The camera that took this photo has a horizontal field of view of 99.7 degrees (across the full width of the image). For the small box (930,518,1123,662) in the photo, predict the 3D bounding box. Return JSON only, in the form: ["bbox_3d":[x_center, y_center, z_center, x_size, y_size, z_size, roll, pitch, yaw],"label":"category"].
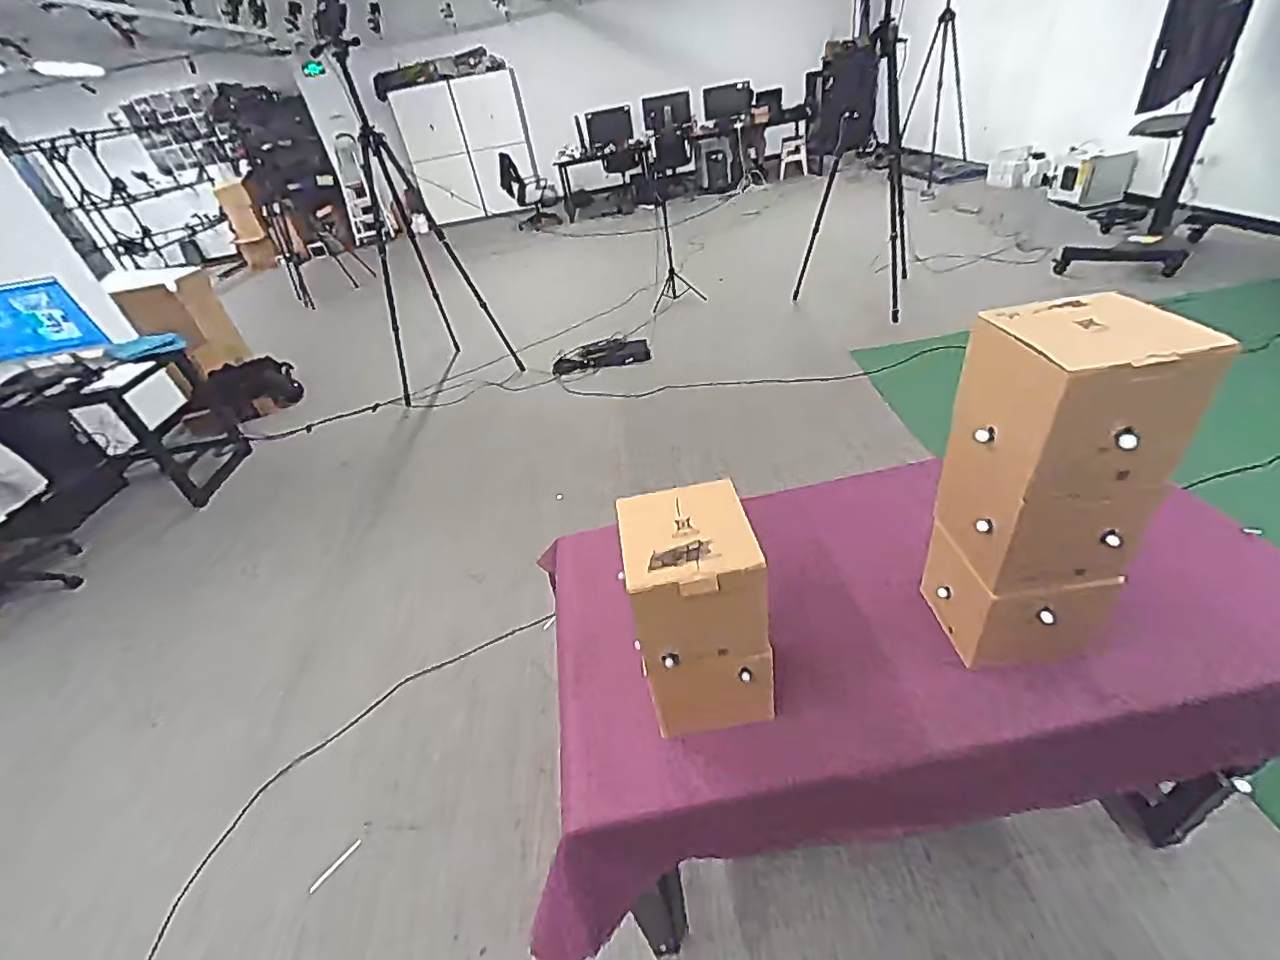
[{"bbox_3d":[0.565,0.158,0.825,0.179,0.176,0.168,-9,37,5],"label":"small box"}]

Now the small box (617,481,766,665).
[{"bbox_3d":[0.068,0.131,0.737,0.168,0.176,0.179,-11,35,1],"label":"small box"}]

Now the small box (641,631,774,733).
[{"bbox_3d":[0.098,0.262,0.831,0.179,0.176,0.168,-11,36,1],"label":"small box"}]

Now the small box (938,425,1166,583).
[{"bbox_3d":[0.535,0.025,0.736,0.168,0.176,0.179,-9,36,5],"label":"small box"}]

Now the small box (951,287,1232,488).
[{"bbox_3d":[0.503,-0.104,0.640,0.168,0.176,0.179,-9,37,3],"label":"small box"}]
